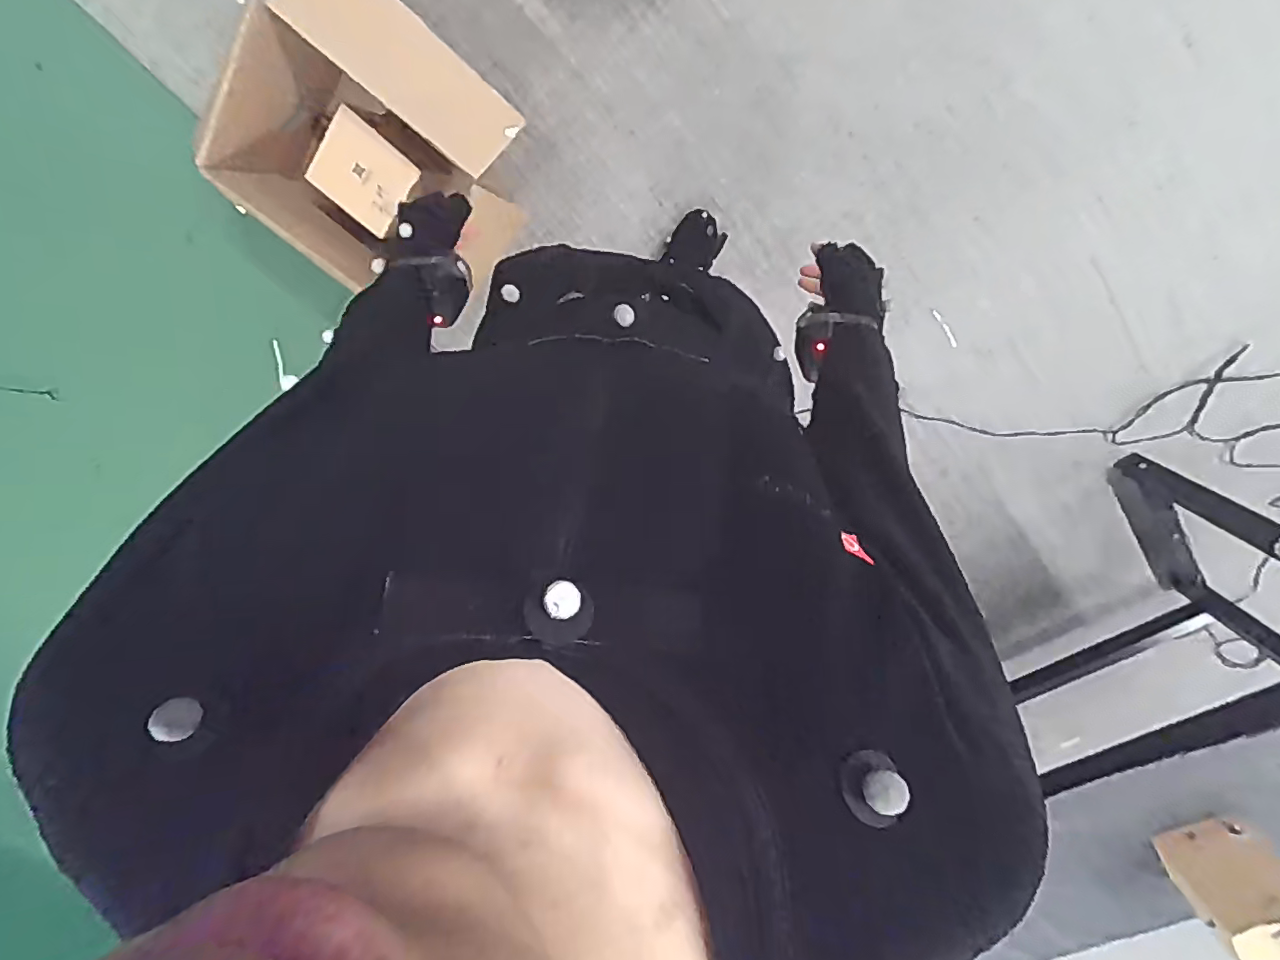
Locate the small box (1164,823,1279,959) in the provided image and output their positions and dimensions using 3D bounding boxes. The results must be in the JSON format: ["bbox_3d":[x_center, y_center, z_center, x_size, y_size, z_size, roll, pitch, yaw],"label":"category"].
[{"bbox_3d":[1.134,0.770,1.001,0.168,0.176,0.179,-32,112,17],"label":"small box"}]
